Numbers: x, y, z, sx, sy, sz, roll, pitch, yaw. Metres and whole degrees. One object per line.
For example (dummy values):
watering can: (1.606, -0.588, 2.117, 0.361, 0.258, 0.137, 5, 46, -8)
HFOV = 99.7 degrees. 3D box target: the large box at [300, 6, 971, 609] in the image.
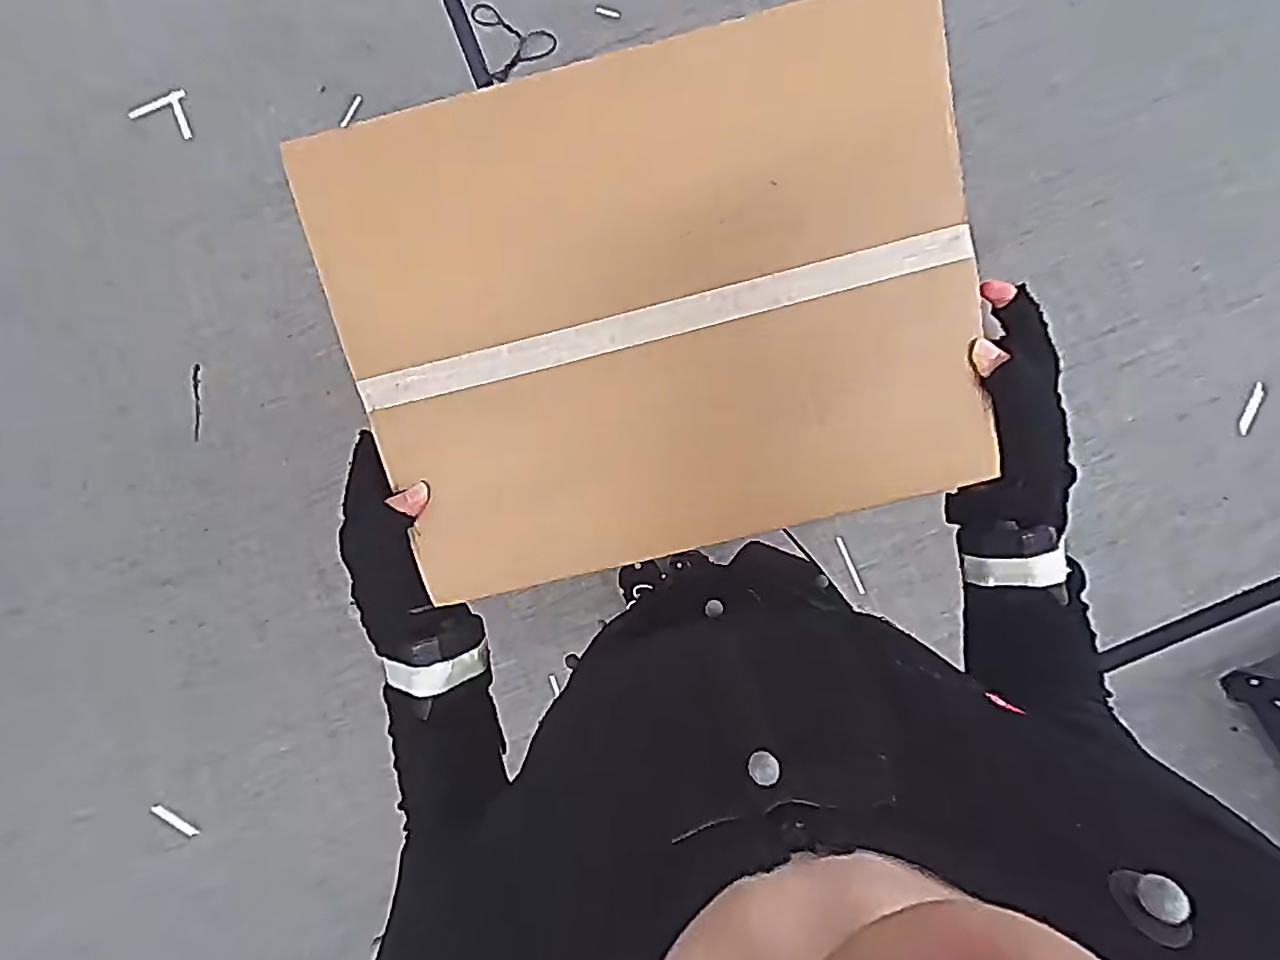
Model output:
large box: (0.009, -0.126, 0.510, 0.408, 0.320, 0.320, -14, 100, 3)
